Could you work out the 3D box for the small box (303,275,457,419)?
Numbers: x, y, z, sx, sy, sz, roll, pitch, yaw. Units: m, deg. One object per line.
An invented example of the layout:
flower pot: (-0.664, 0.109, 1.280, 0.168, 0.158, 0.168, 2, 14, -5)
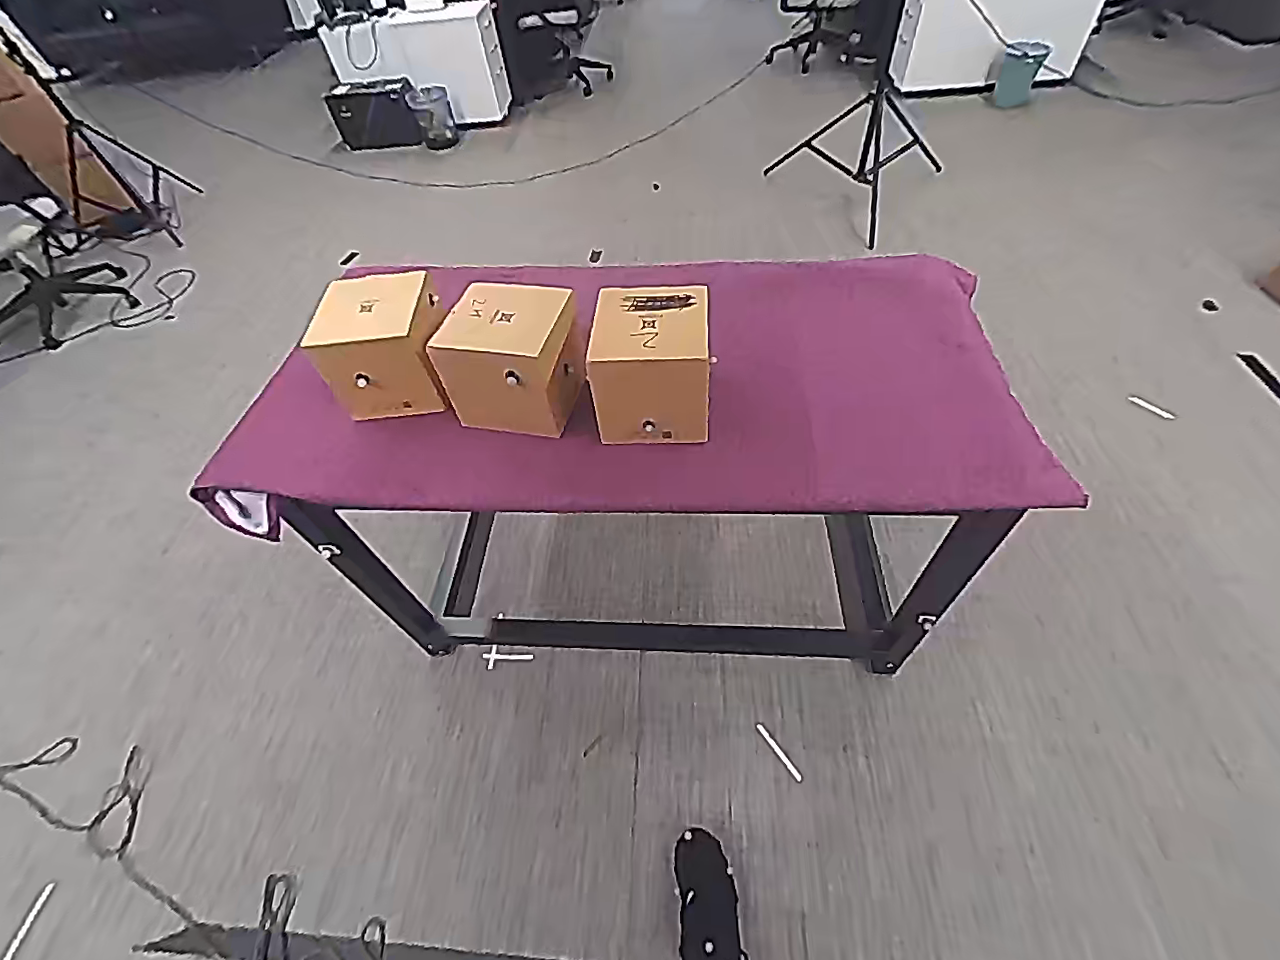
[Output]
small box: (-0.426, -0.219, 0.922, 0.168, 0.176, 0.179, -7, 52, 1)
